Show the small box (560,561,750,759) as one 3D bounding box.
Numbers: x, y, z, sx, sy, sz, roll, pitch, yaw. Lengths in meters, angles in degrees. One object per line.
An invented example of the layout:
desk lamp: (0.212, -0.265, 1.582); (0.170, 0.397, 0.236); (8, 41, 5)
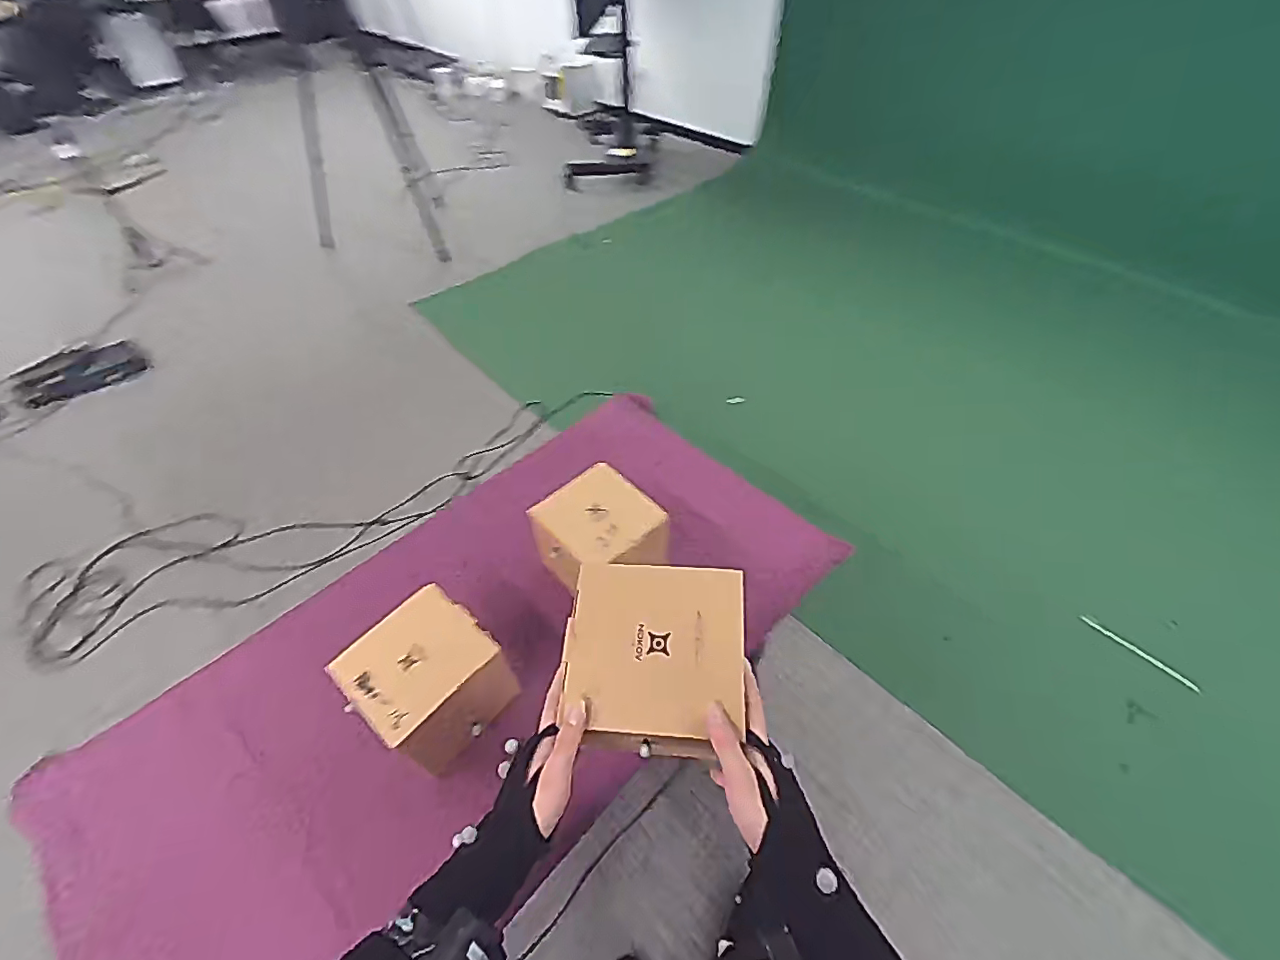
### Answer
small box: (0.028, 0.203, 0.597); (0.179, 0.176, 0.168); (3, 58, 8)

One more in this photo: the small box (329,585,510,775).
small box: (-0.314, 0.300, 0.811); (0.168, 0.176, 0.179); (33, 57, 26)

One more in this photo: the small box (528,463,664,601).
small box: (-0.075, 0.108, 0.971); (0.168, 0.176, 0.179); (-36, 58, -25)
